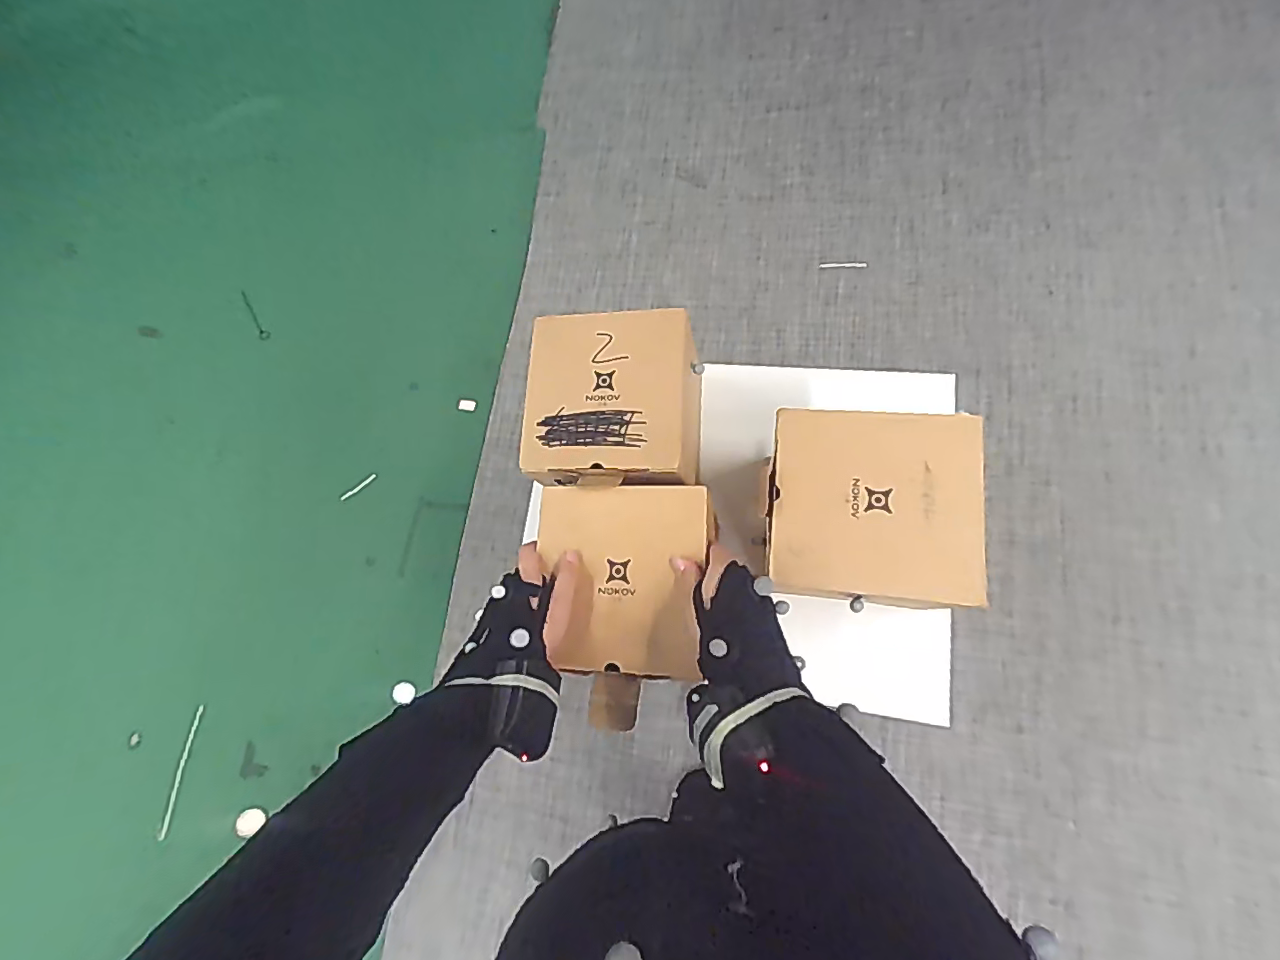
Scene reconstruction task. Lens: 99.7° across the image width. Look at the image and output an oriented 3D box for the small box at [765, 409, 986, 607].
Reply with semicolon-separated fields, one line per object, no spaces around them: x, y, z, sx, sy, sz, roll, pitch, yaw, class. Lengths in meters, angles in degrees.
0.221;0.037;0.547;0.179;0.176;0.168;4;78;13;small box
